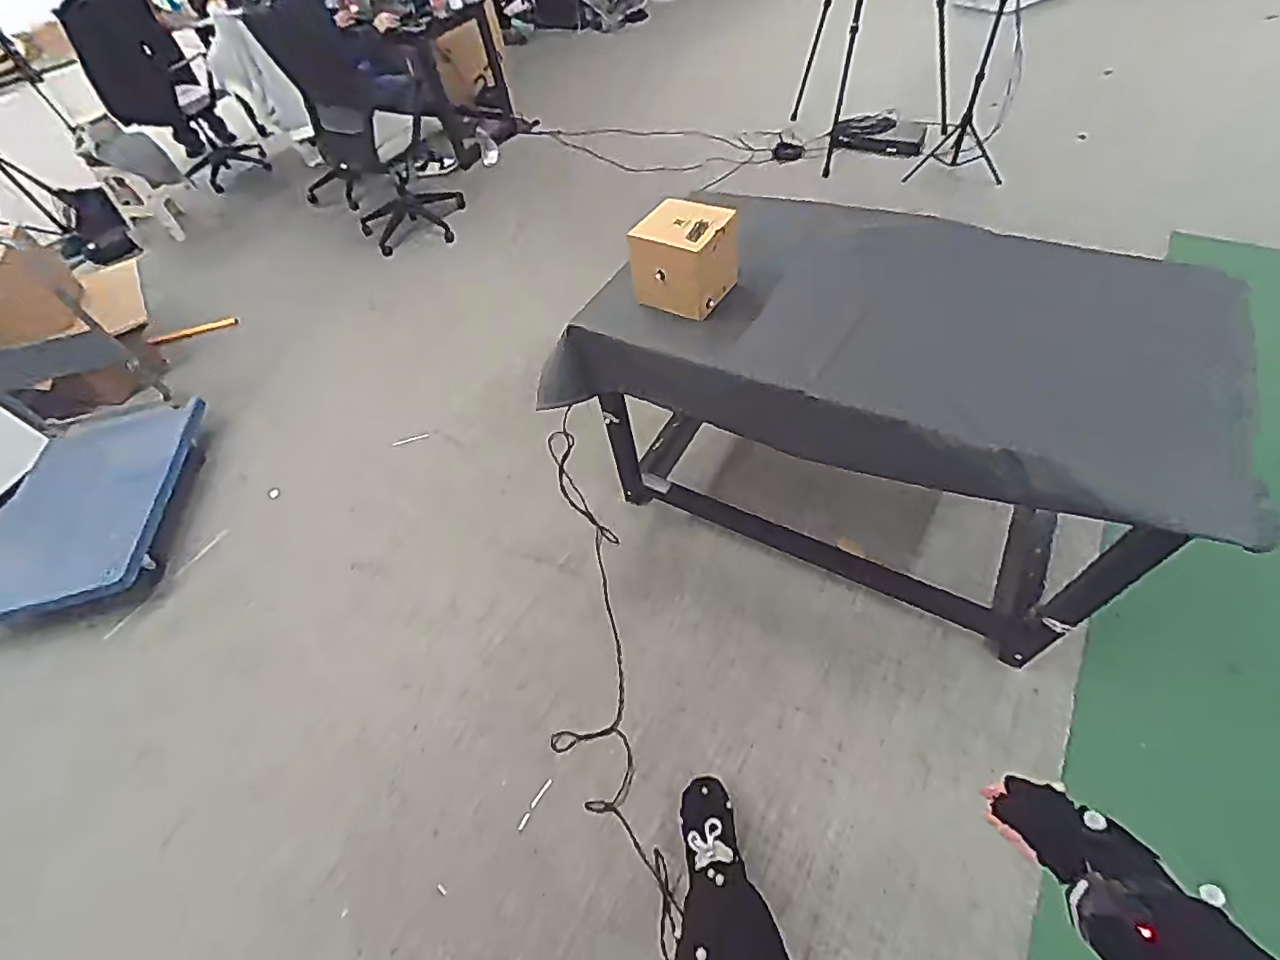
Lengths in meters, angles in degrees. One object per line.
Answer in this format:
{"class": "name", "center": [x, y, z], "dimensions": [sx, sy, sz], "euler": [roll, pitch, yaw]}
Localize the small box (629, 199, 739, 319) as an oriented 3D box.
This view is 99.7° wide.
{"class": "small box", "center": [0.101, -0.479, 1.182], "dimensions": [0.179, 0.176, 0.168], "euler": [26, 61, 25]}
